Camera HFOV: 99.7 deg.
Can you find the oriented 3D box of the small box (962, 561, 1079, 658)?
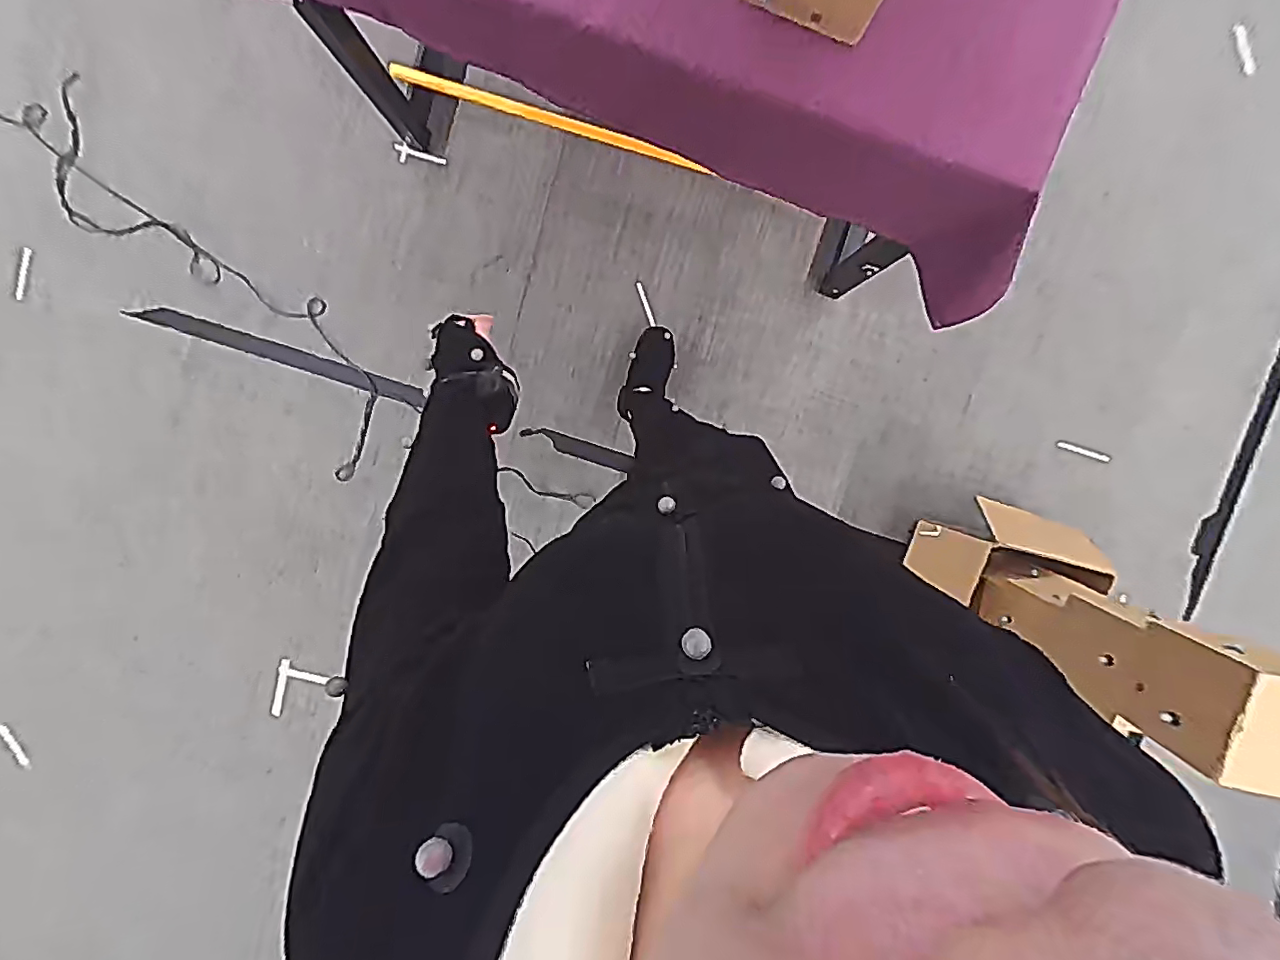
[{"bbox_3d":[0.887,0.296,1.274,0.168,0.176,0.179,-4,99,3],"label":"small box"}]

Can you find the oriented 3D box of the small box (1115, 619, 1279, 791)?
[{"bbox_3d":[0.854,0.318,0.781,0.179,0.176,0.168,11,100,1],"label":"small box"}]

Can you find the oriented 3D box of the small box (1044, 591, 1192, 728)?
[{"bbox_3d":[0.858,0.311,0.945,0.168,0.176,0.179,10,99,2],"label":"small box"}]

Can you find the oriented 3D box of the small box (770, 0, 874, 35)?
[{"bbox_3d":[0.228,-0.663,0.606,0.168,0.176,0.179,21,94,-3],"label":"small box"}]
